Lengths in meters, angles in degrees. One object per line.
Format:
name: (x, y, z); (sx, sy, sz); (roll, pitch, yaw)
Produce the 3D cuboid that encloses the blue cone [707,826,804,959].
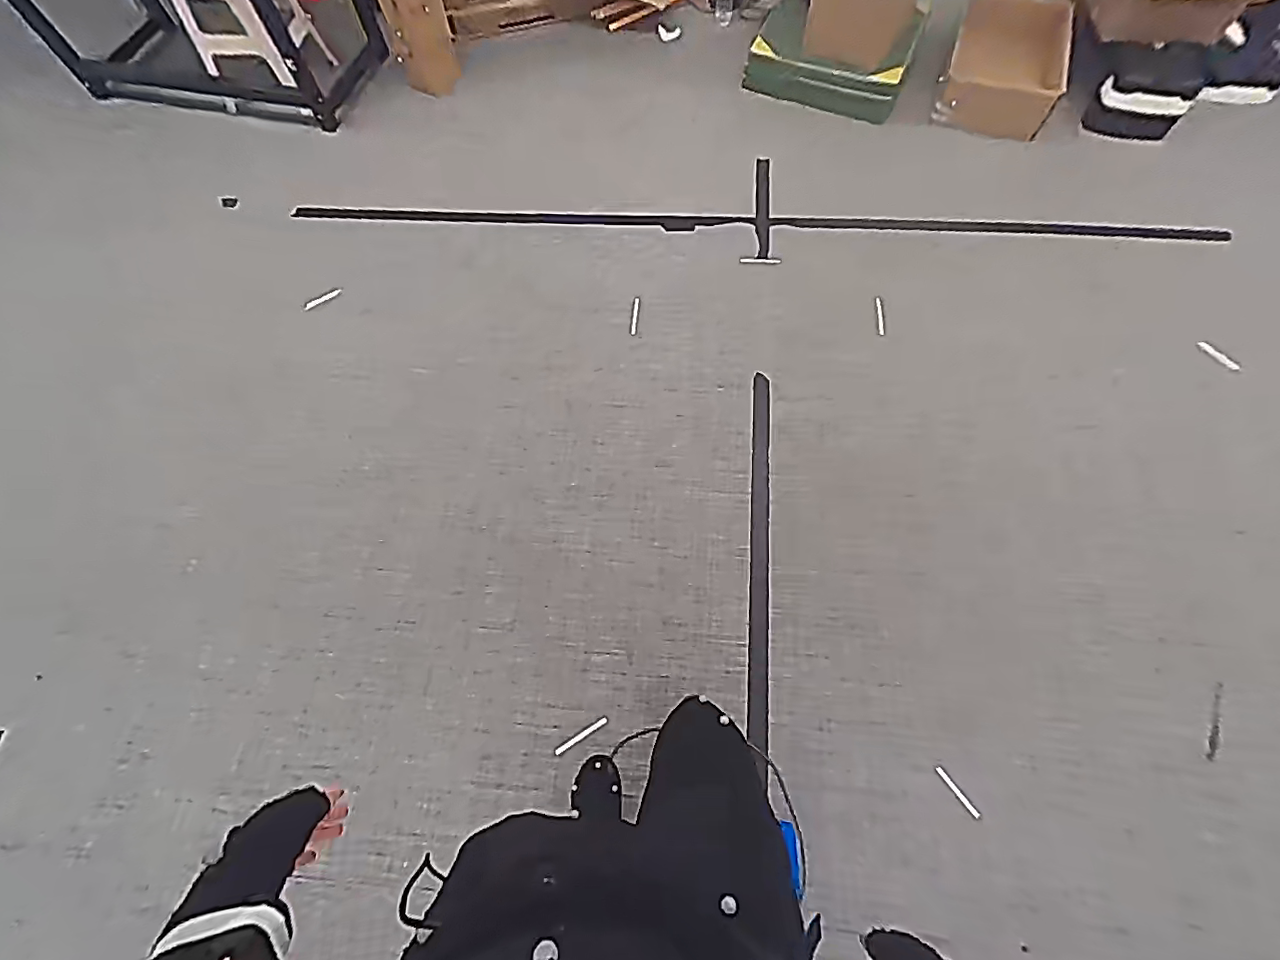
blue cone: (0.238, 0.773, 0.982); (0.192, 0.380, 0.193); (-1, 67, 1)
